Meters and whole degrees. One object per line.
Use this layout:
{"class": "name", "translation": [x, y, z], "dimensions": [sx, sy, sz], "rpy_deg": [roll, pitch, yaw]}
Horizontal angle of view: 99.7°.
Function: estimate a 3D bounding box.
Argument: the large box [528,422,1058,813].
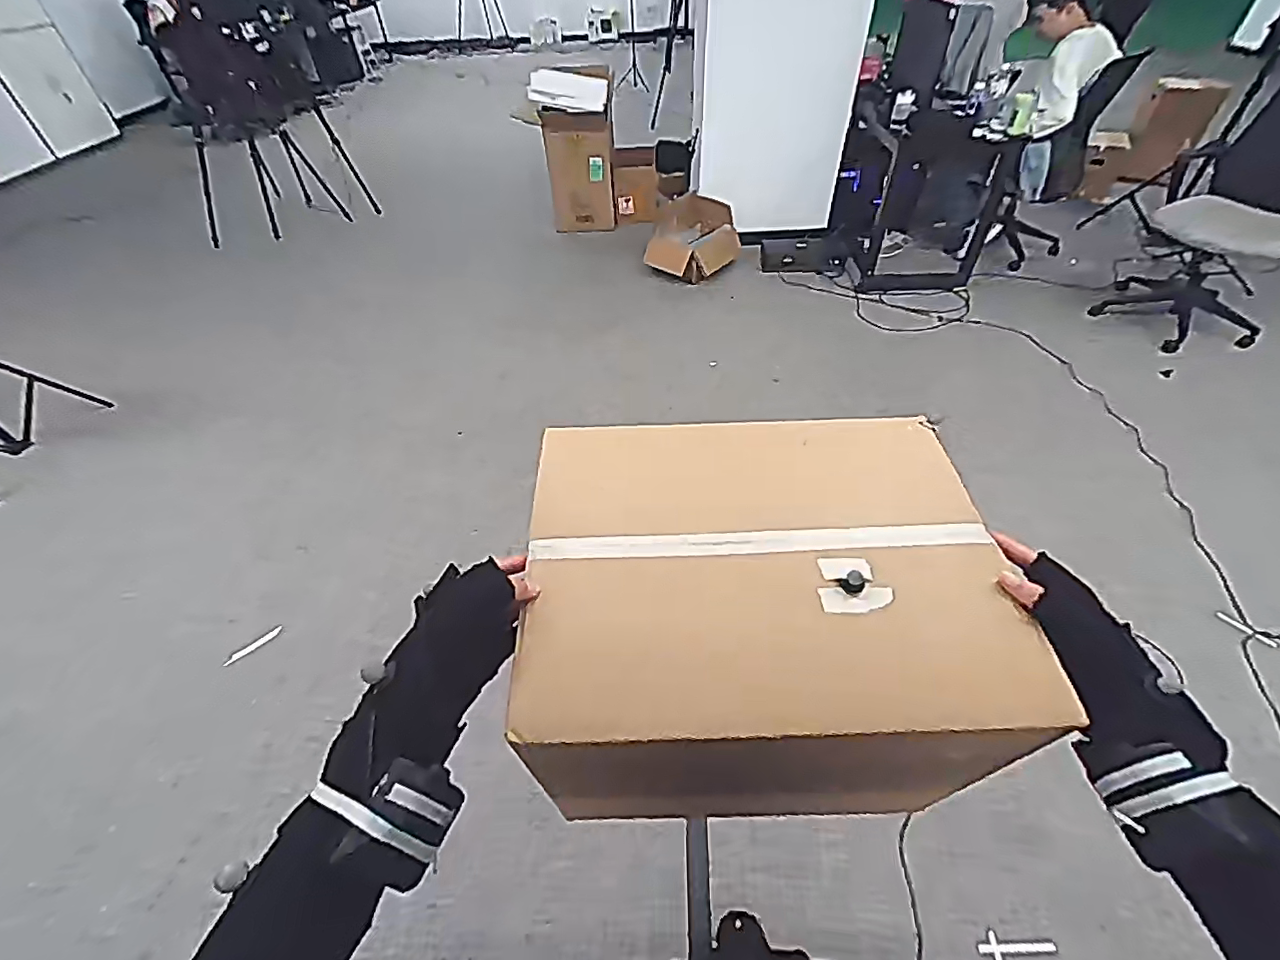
{"class": "large box", "translation": [0.109, 0.157, 0.604], "dimensions": [0.408, 0.320, 0.320], "rpy_deg": [-2, 50, 0]}
